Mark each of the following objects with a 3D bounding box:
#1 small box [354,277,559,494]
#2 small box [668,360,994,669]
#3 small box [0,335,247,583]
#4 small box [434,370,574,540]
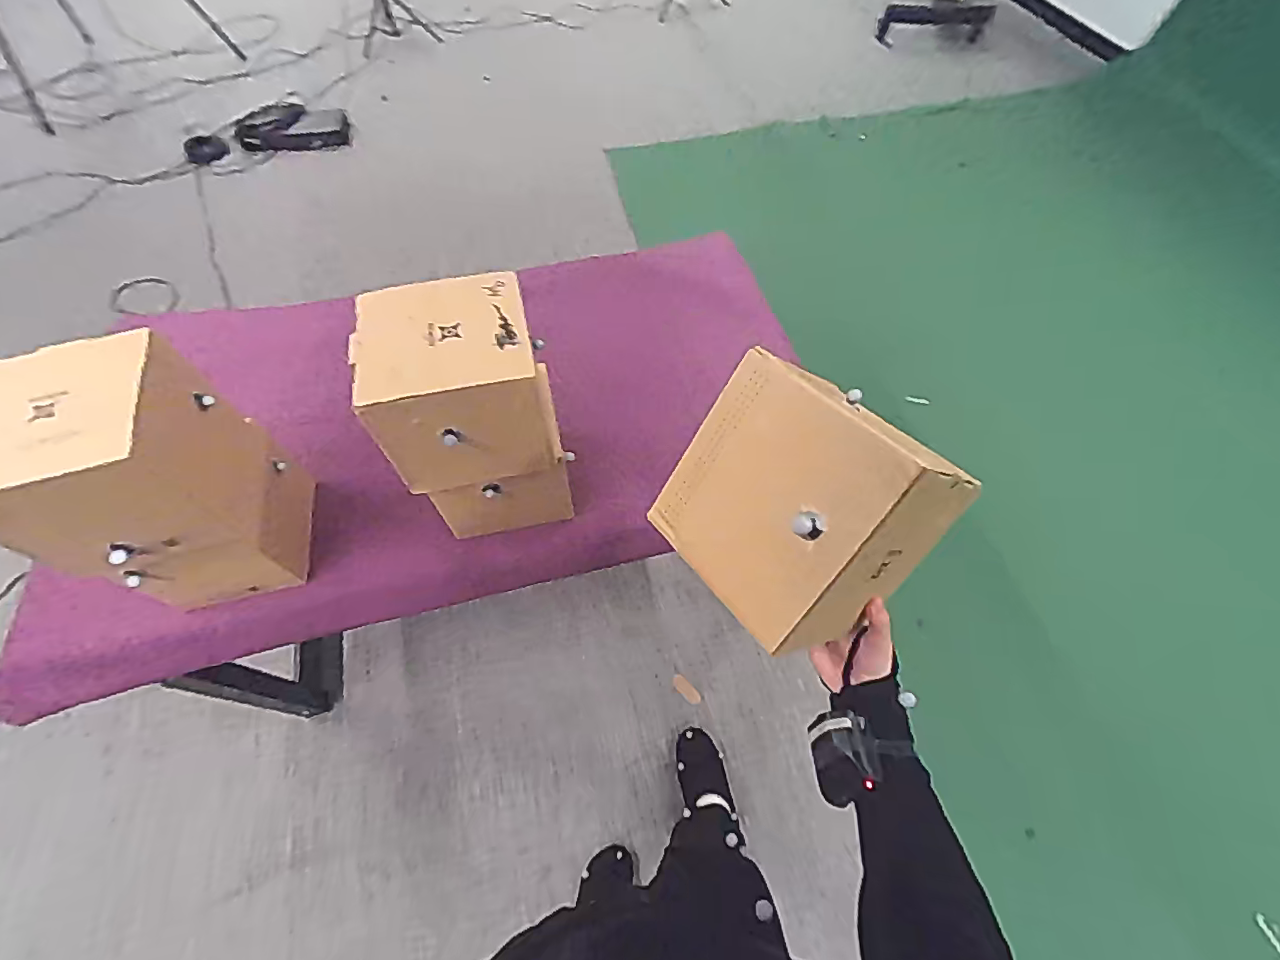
[{"bbox_3d":[-0.201,-0.101,0.624,0.179,0.176,0.168,-12,60,-7],"label":"small box"},{"bbox_3d":[0.149,0.027,0.461,0.168,0.179,0.176,7,31,-48],"label":"small box"},{"bbox_3d":[-0.549,-0.018,0.568,0.168,0.176,0.179,-16,60,-10],"label":"small box"},{"bbox_3d":[-0.198,-0.030,0.773,0.179,0.176,0.168,-10,59,-8],"label":"small box"}]
